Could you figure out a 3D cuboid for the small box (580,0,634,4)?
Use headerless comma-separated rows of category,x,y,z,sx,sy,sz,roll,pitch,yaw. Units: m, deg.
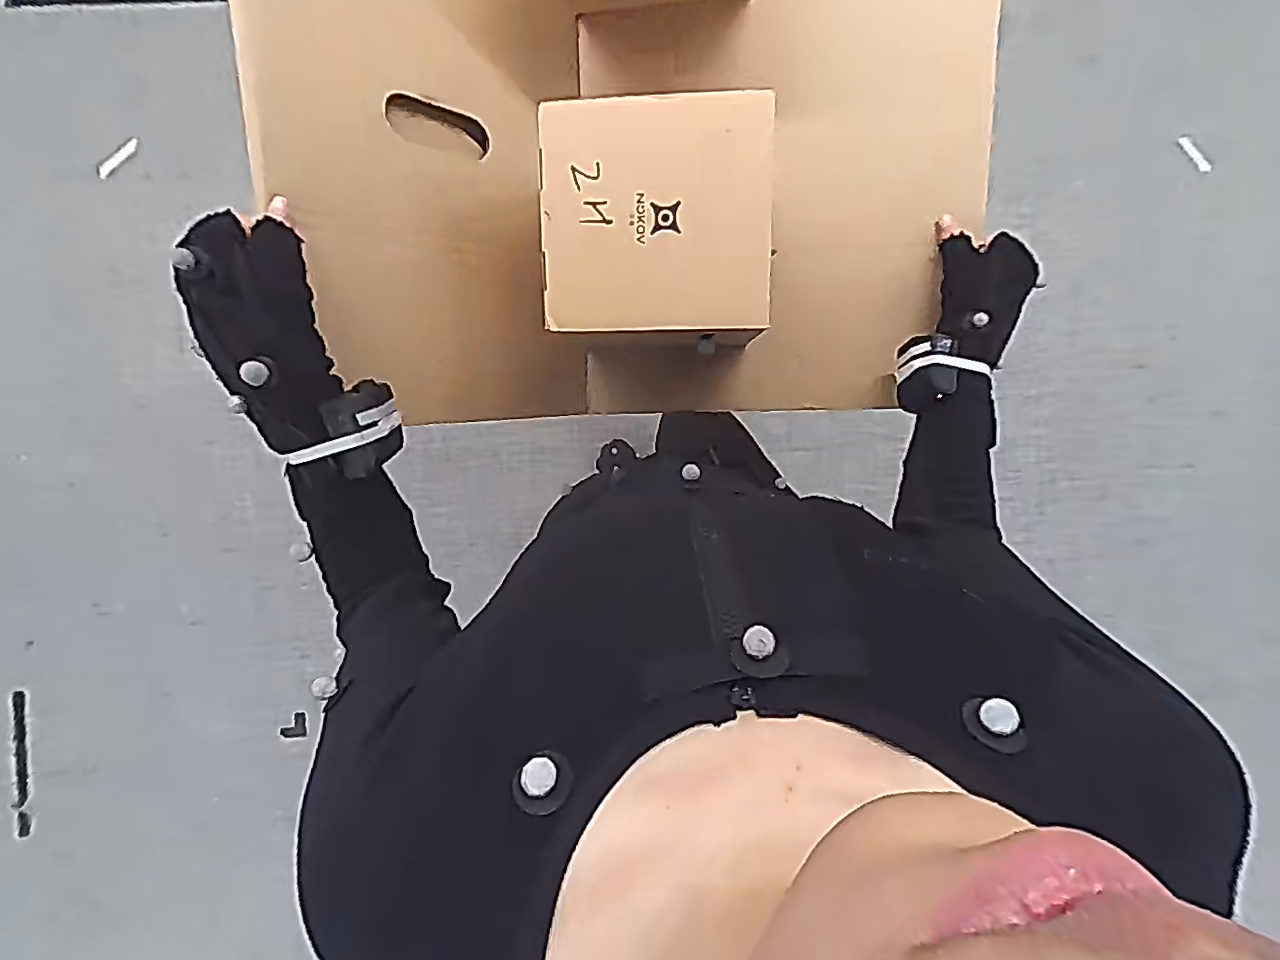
small box,0.009,-0.536,0.439,0.179,0.176,0.168,-2,100,5

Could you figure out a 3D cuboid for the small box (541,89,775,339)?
small box,0.018,-0.221,0.492,0.179,0.176,0.168,1,100,6
